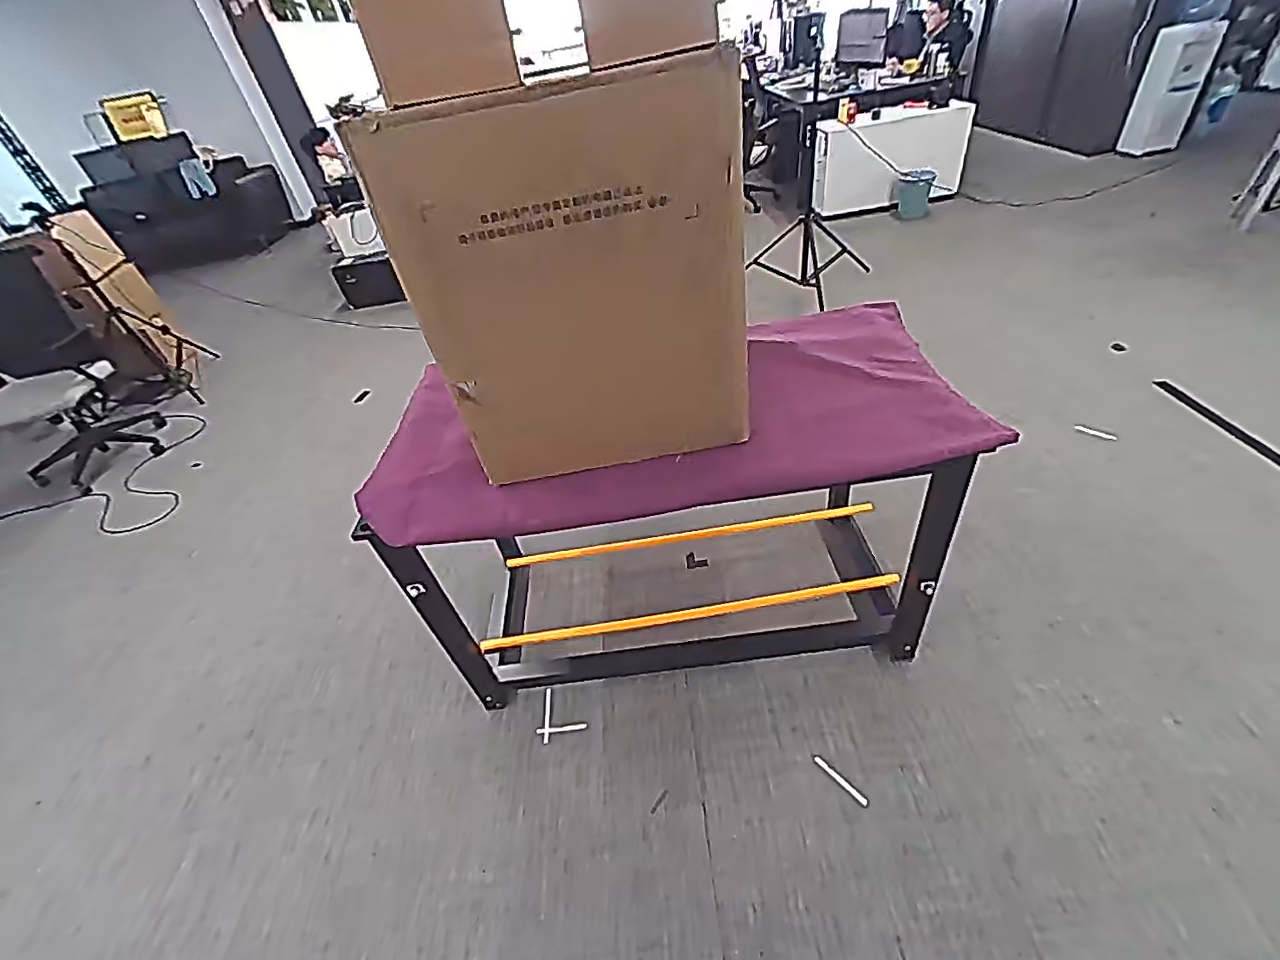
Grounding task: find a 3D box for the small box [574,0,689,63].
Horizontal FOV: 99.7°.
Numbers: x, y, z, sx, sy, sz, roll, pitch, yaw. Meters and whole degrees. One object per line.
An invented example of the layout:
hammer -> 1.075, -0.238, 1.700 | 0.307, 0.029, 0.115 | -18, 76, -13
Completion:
small box -> -0.020, -0.771, 0.845 | 0.168, 0.176, 0.179 | -9, 40, 4
